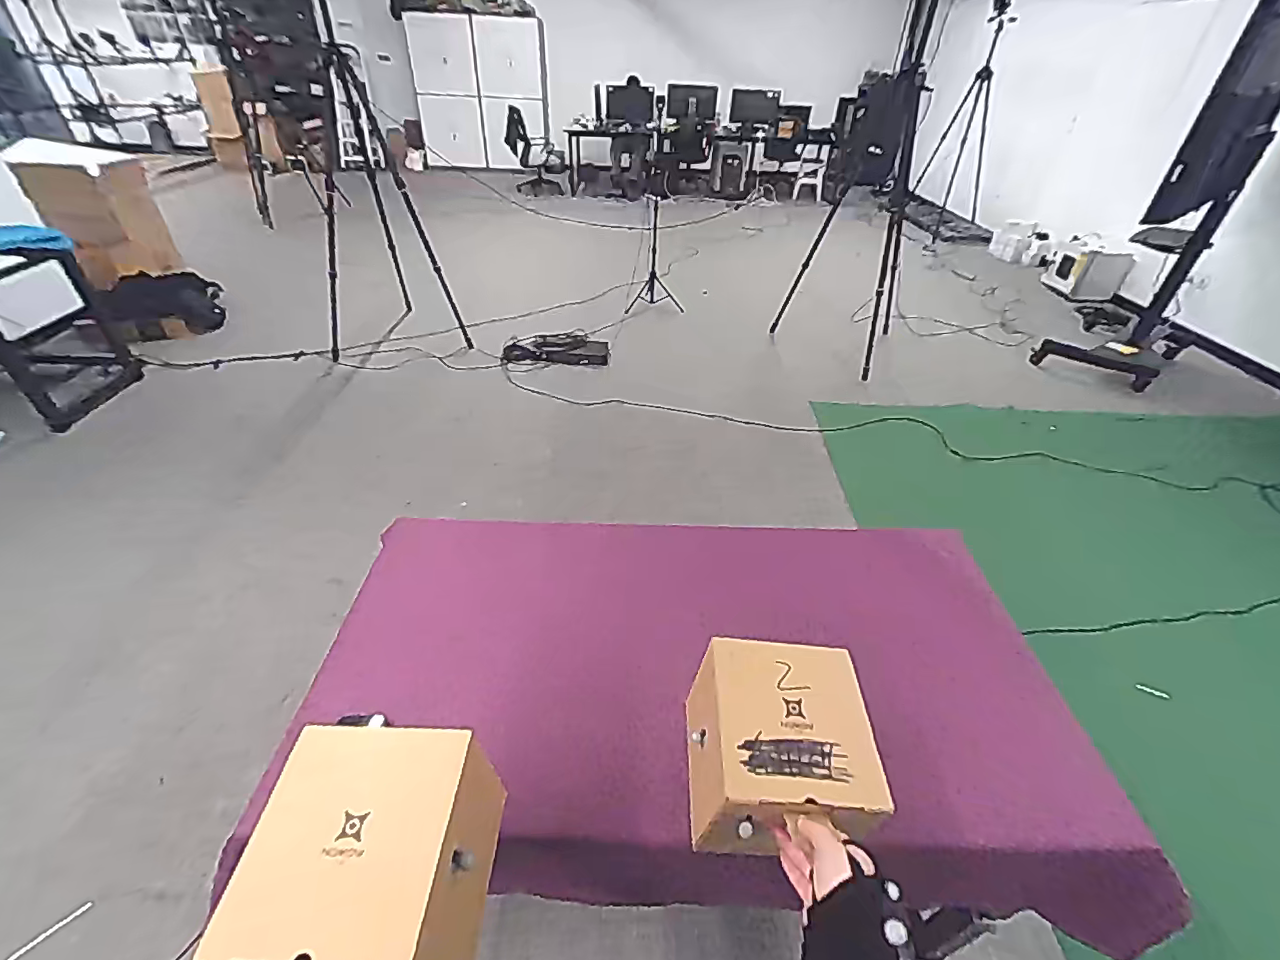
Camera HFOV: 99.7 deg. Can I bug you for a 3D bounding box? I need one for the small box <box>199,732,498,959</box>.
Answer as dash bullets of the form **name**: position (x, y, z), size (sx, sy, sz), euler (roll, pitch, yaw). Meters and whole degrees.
- **small box**: position (-0.242, 0.364, 0.510), size (0.168, 0.176, 0.179), euler (1, 43, 3)
